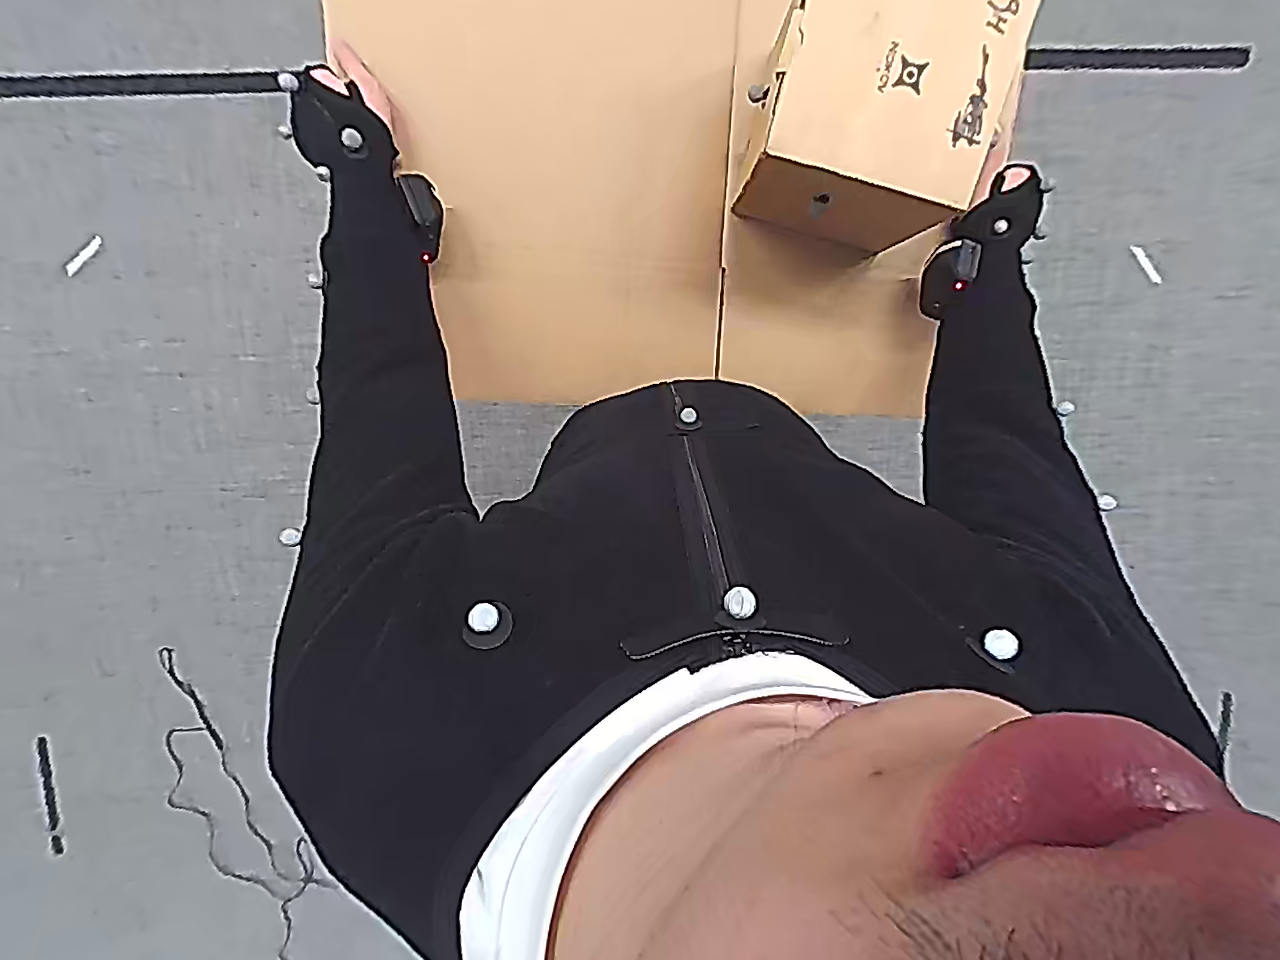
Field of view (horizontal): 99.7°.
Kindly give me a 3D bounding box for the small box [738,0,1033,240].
[{"bbox_3d":[0.202,-0.342,0.502,0.179,0.176,0.168,15,102,-2],"label":"small box"}]
